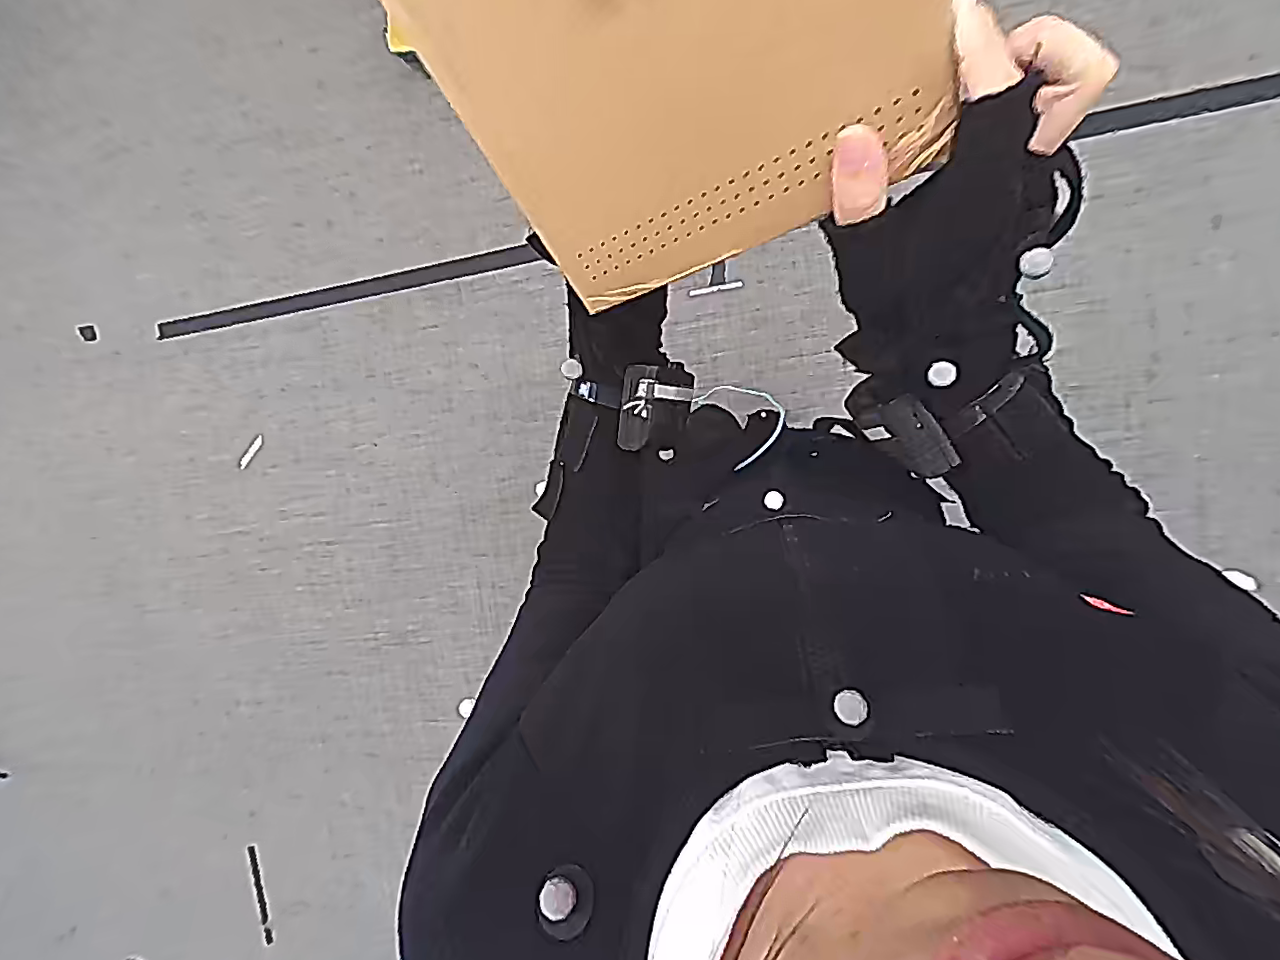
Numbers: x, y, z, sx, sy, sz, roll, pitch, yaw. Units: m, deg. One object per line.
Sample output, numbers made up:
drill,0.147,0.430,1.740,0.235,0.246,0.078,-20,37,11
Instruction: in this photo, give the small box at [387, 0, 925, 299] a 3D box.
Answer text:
small box,0.020,-0.221,0.264,0.179,0.168,0.176,-13,137,27
